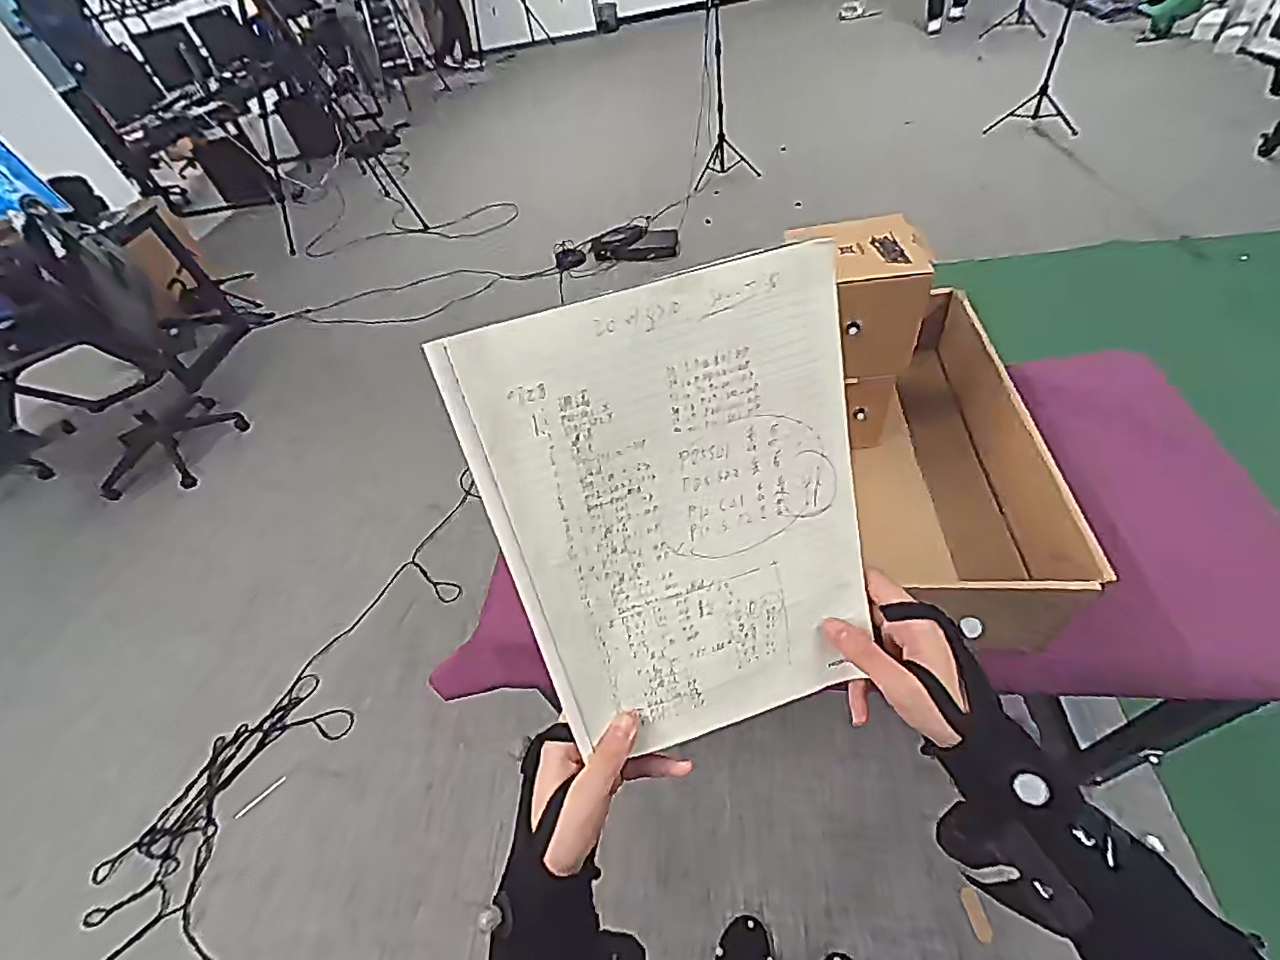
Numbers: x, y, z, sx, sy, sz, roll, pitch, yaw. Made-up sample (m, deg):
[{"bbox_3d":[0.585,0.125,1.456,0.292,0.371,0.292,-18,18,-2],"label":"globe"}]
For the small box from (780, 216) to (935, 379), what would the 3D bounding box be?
[{"bbox_3d":[0.314,-0.272,0.823,0.179,0.176,0.168,-4,49,9],"label":"small box"}]
